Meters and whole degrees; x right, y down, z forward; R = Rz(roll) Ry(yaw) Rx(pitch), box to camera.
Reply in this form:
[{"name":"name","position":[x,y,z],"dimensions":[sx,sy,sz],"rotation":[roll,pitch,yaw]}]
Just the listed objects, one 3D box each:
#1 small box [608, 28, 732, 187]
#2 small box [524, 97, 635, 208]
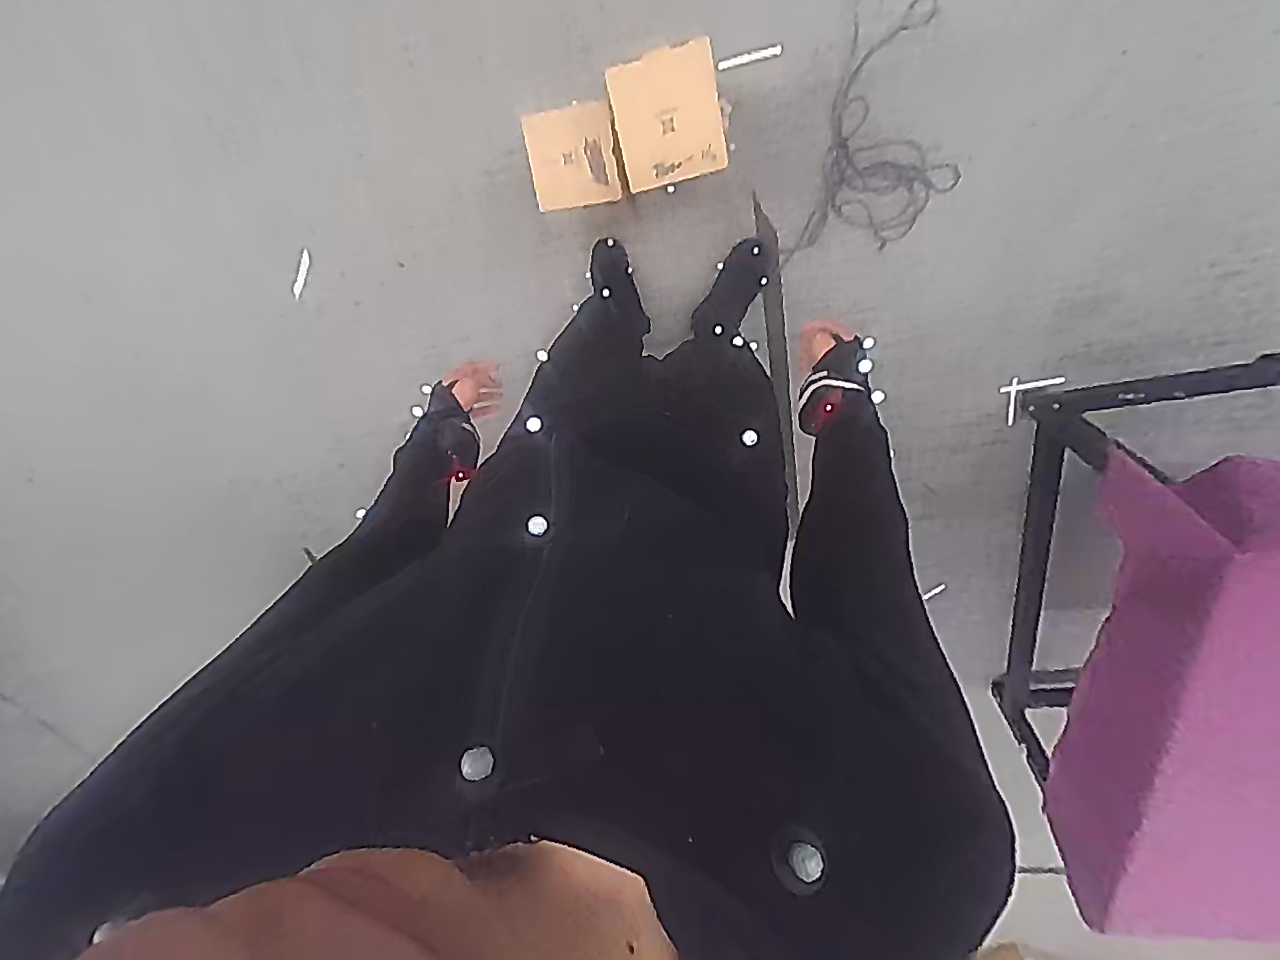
[{"name":"small box","position":[0.060,-0.603,0.900],"dimensions":[0.168,0.176,0.179],"rotation":[-7,118,15]},{"name":"small box","position":[-0.109,-0.658,1.093],"dimensions":[0.179,0.176,0.168],"rotation":[-2,120,13]}]
